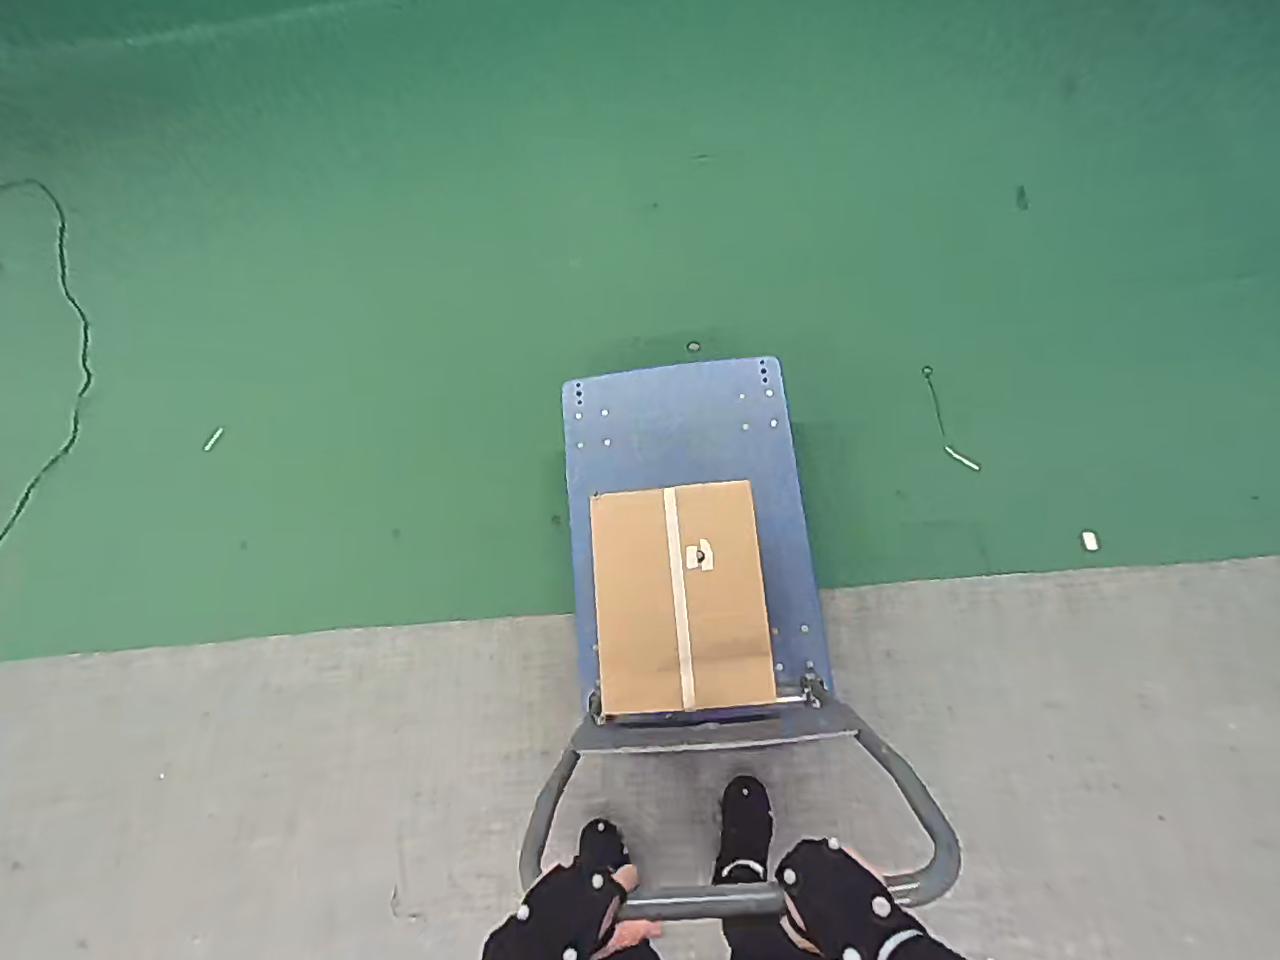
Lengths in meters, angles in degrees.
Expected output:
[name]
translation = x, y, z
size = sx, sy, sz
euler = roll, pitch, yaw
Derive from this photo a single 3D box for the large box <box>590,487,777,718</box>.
[large box]
translation = 0.088, 0.253, 1.148
size = 0.320, 0.320, 0.408
euler = -6, 77, 4
